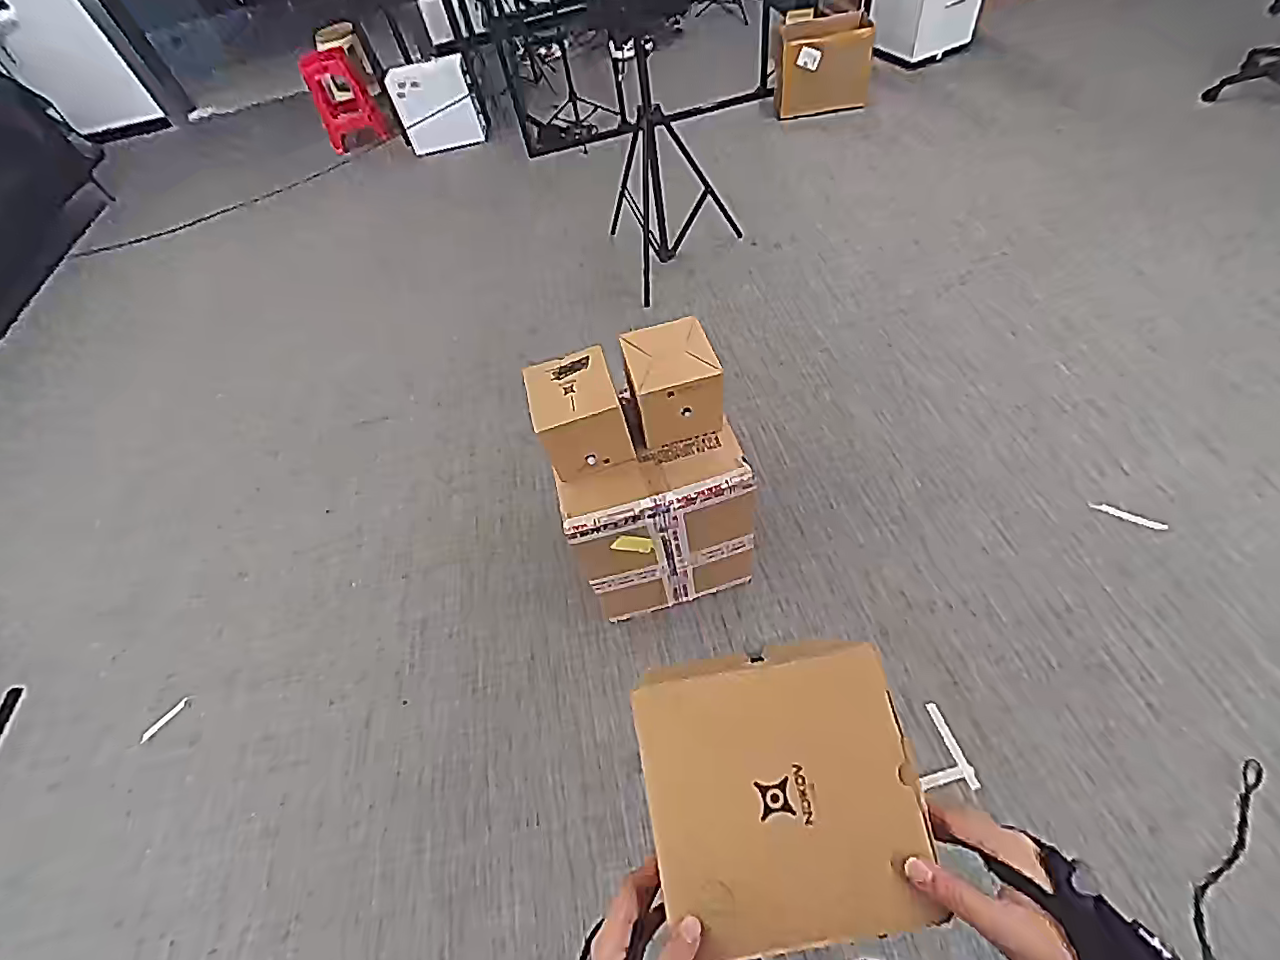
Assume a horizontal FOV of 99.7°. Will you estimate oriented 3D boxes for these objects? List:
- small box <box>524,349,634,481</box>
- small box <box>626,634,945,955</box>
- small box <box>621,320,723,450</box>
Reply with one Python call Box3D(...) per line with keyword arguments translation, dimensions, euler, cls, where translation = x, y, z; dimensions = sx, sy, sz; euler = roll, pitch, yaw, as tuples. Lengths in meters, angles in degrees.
Box3D(translation=(-0.121, -0.128, 1.097), dimensions=(0.168, 0.176, 0.179), euler=(-18, 55, 0), cls="small box")
Box3D(translation=(0.094, 0.222, 0.429), dimensions=(0.179, 0.176, 0.168), euler=(-11, 74, 0), cls="small box")
Box3D(translation=(0.064, -0.194, 1.107), dimensions=(0.168, 0.176, 0.179), euler=(-15, 55, -4), cls="small box")
